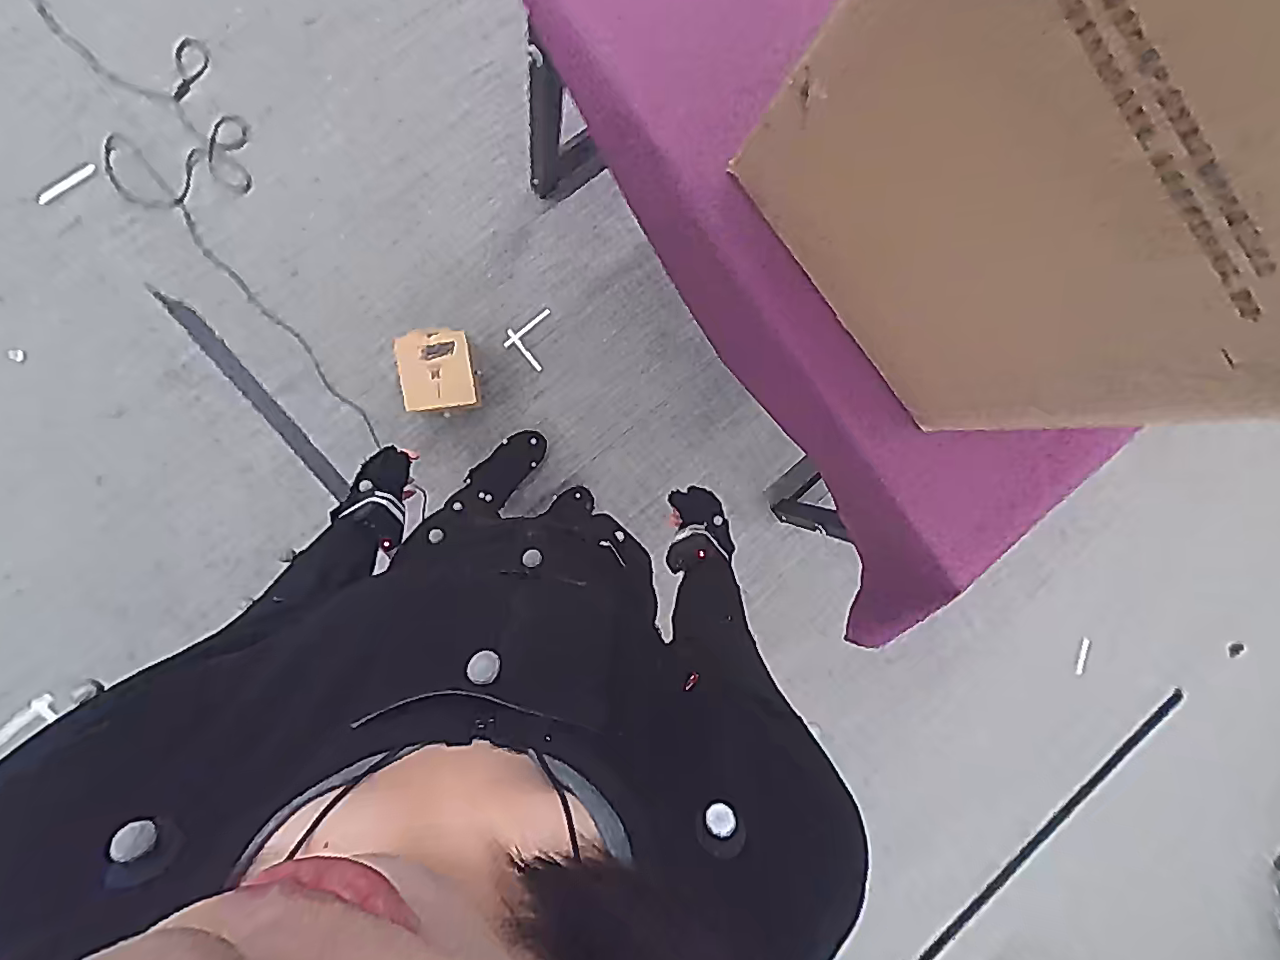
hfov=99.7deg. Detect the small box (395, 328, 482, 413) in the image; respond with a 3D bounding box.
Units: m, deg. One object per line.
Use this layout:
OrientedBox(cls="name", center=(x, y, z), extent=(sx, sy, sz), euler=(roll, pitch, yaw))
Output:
OrientedBox(cls="small box", center=(-0.493, -0.267, 1.345), extent=(0.168, 0.176, 0.179), euler=(-8, 96, -10))
